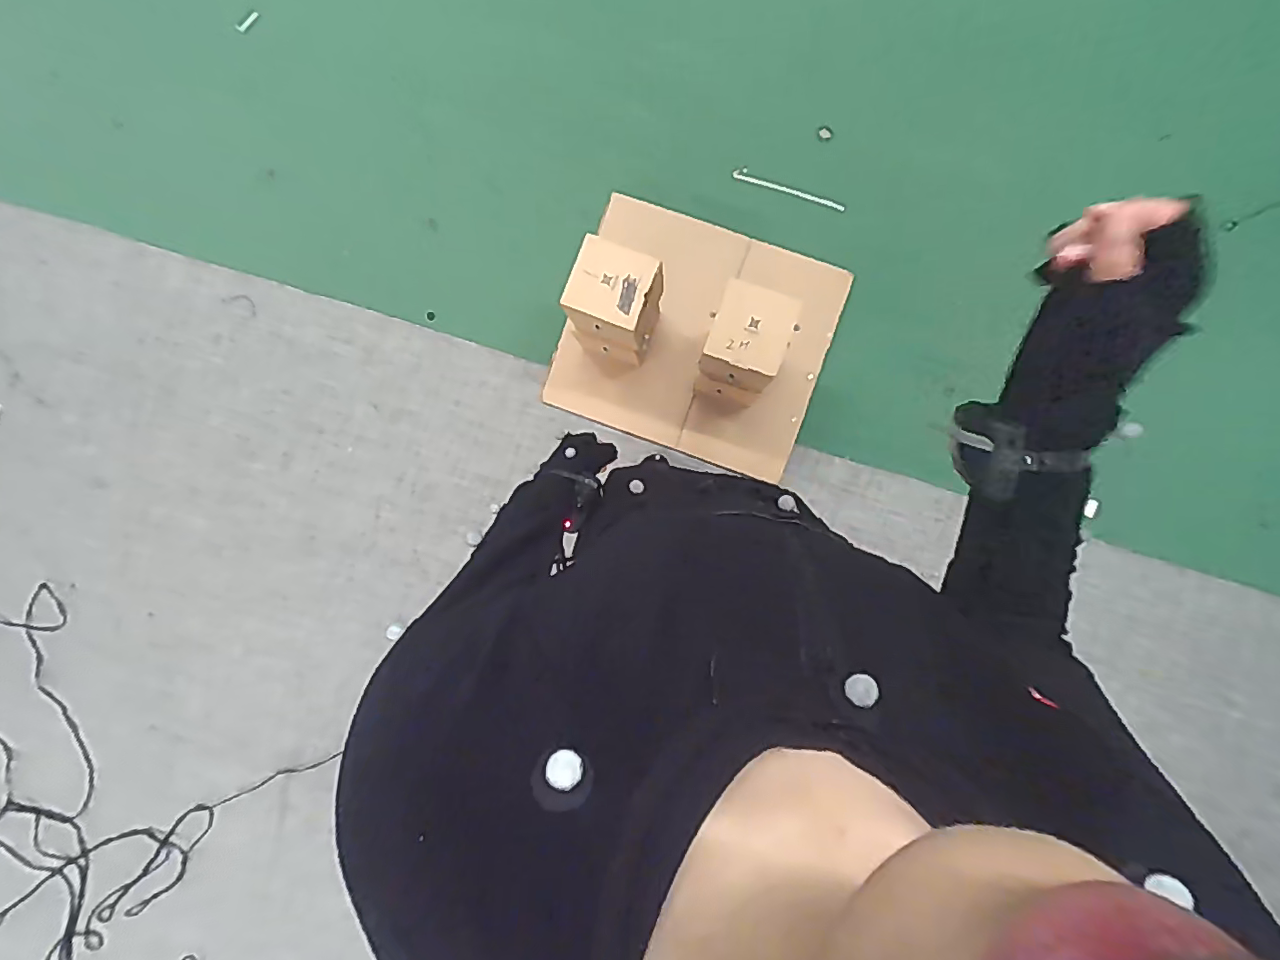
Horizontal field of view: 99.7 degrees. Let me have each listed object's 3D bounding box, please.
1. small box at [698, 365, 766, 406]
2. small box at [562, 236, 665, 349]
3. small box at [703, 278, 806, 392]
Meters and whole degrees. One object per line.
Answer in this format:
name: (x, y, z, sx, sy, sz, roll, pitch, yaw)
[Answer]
small box: (0.251, -0.304, 1.379, 0.168, 0.176, 0.179, 18, 91, 3)
small box: (-0.051, -0.414, 1.228, 0.179, 0.176, 0.168, 22, 91, 5)
small box: (0.246, -0.316, 1.213, 0.168, 0.176, 0.179, 20, 91, 4)
